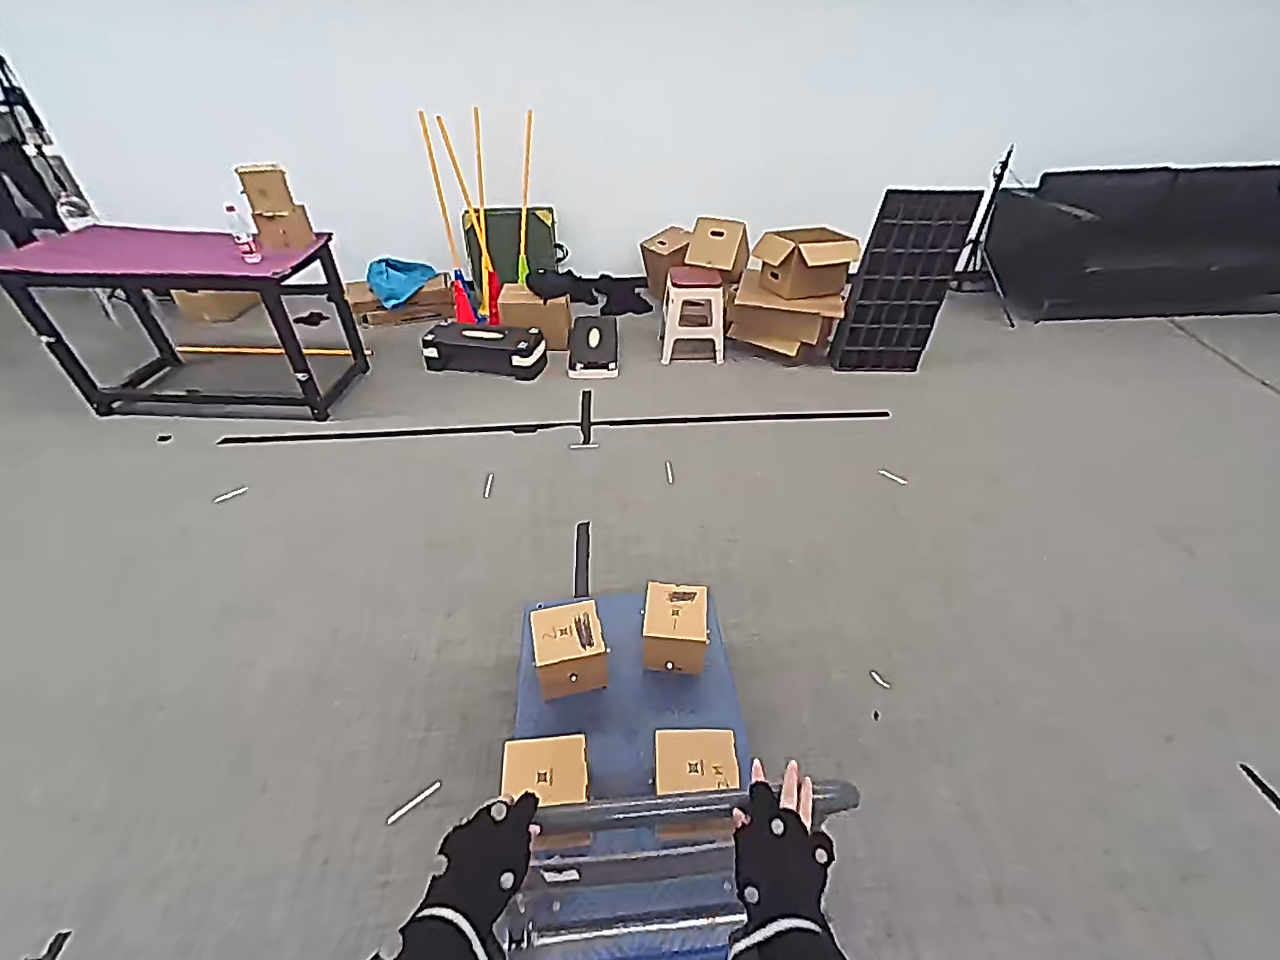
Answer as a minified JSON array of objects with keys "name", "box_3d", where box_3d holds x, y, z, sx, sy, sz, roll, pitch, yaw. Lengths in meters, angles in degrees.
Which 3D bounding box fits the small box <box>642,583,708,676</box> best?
[{"name":"small box","box_3d":[0.095,0.410,1.489,0.168,0.176,0.179,5,41,4]}]

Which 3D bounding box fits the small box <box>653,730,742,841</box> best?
[{"name":"small box","box_3d":[0.117,0.669,1.181,0.179,0.176,0.168,1,40,0]}]

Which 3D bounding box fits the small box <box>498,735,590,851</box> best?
[{"name":"small box","box_3d":[-0.201,0.676,1.166,0.179,0.176,0.168,-2,40,-6]}]
